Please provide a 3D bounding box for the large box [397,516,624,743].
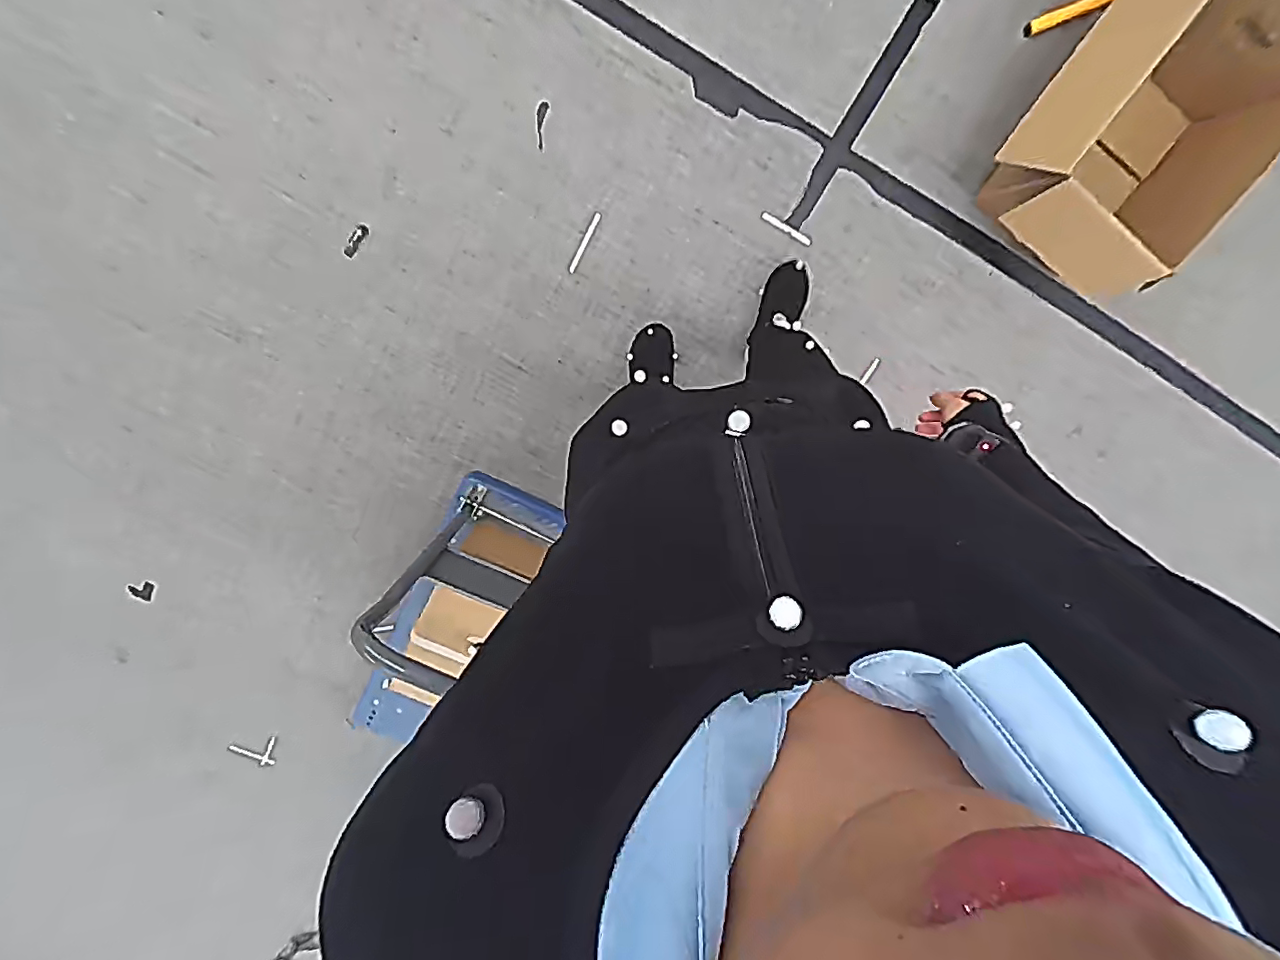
[{"bbox_3d":[-0.287,0.347,1.311,0.408,0.320,0.320,27,106,-8],"label":"large box"}]
